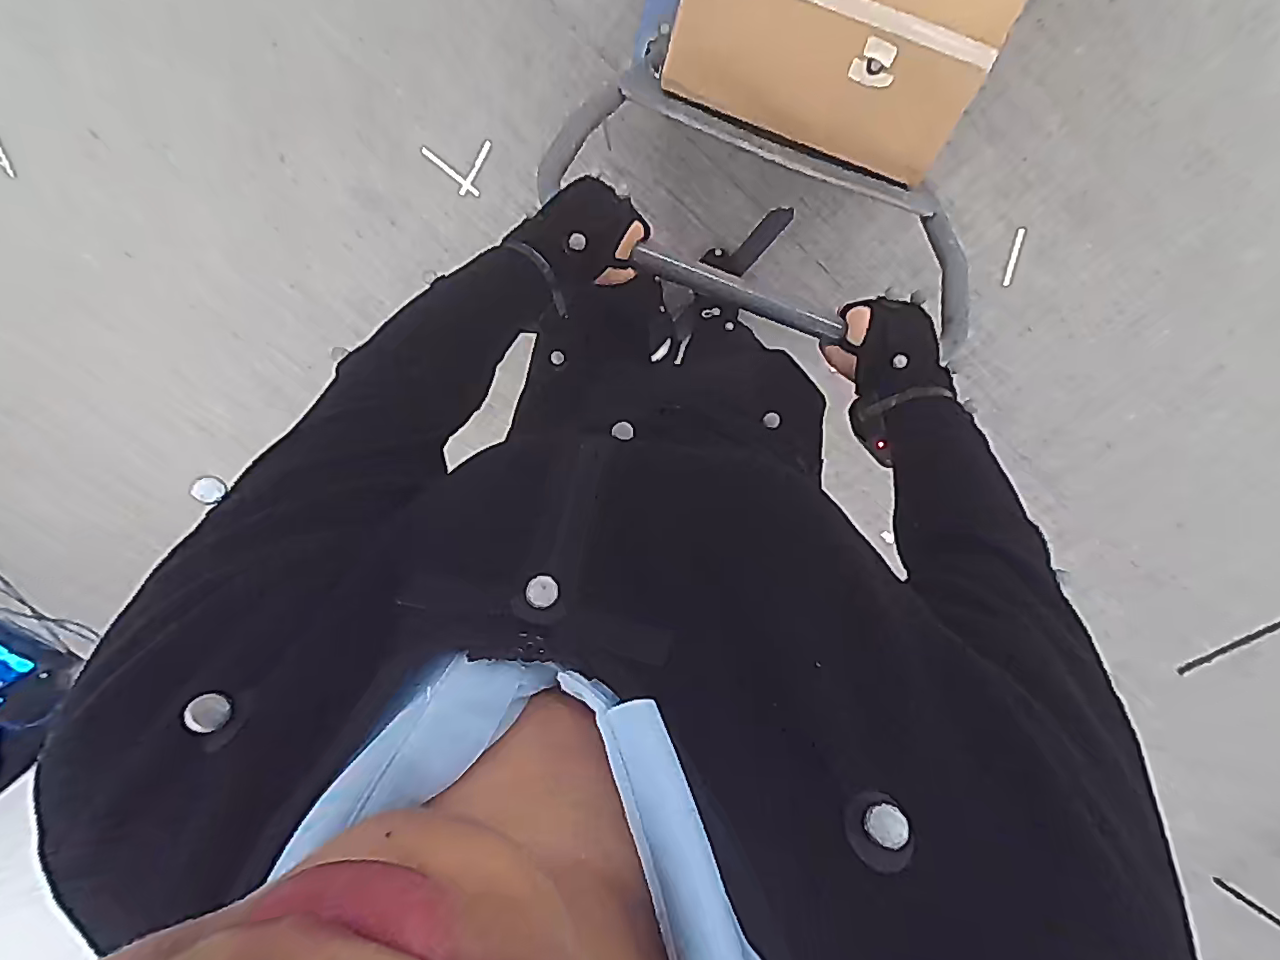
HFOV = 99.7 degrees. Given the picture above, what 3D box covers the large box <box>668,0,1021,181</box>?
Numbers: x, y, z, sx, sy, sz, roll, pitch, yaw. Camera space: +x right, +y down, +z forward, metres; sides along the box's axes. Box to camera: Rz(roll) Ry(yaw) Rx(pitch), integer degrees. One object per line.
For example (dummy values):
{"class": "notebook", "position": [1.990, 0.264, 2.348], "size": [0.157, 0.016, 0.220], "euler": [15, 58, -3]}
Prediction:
{"class": "large box", "position": [0.289, -0.705, 0.801], "size": [0.408, 0.320, 0.320], "euler": [19, 134, -3]}
